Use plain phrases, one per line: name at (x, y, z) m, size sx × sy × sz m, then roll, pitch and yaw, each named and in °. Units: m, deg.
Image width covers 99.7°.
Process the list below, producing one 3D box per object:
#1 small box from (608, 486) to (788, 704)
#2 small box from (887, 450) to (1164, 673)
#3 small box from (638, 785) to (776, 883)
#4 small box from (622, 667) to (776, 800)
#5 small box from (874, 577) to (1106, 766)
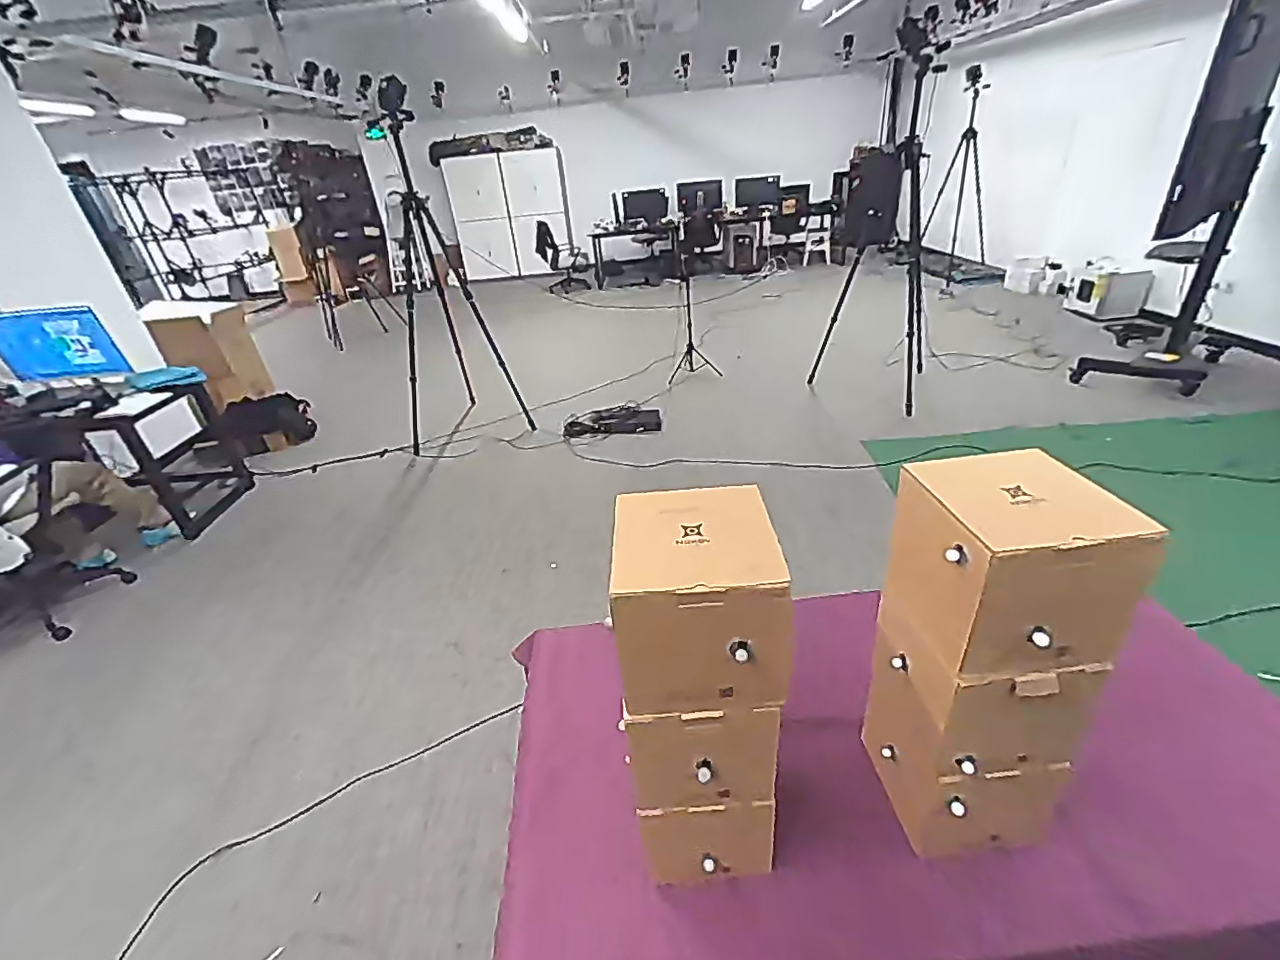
small box at (0.061, 0.126, 0.593) m, size 0.168 × 0.176 × 0.179 m, roll -4°, pitch 29°, yaw 3°
small box at (0.398, 0.085, 0.602) m, size 0.168 × 0.176 × 0.179 m, roll -7°, pitch 30°, yaw -1°
small box at (0.084, 0.415, 0.749) m, size 0.168 × 0.176 × 0.179 m, roll -6°, pitch 30°, yaw 1°
small box at (0.067, 0.271, 0.671) m, size 0.168 × 0.176 × 0.179 m, roll -5°, pitch 30°, yaw 0°
small box at (0.413, 0.231, 0.674) m, size 0.168 × 0.176 × 0.179 m, roll -7°, pitch 28°, yaw 0°
